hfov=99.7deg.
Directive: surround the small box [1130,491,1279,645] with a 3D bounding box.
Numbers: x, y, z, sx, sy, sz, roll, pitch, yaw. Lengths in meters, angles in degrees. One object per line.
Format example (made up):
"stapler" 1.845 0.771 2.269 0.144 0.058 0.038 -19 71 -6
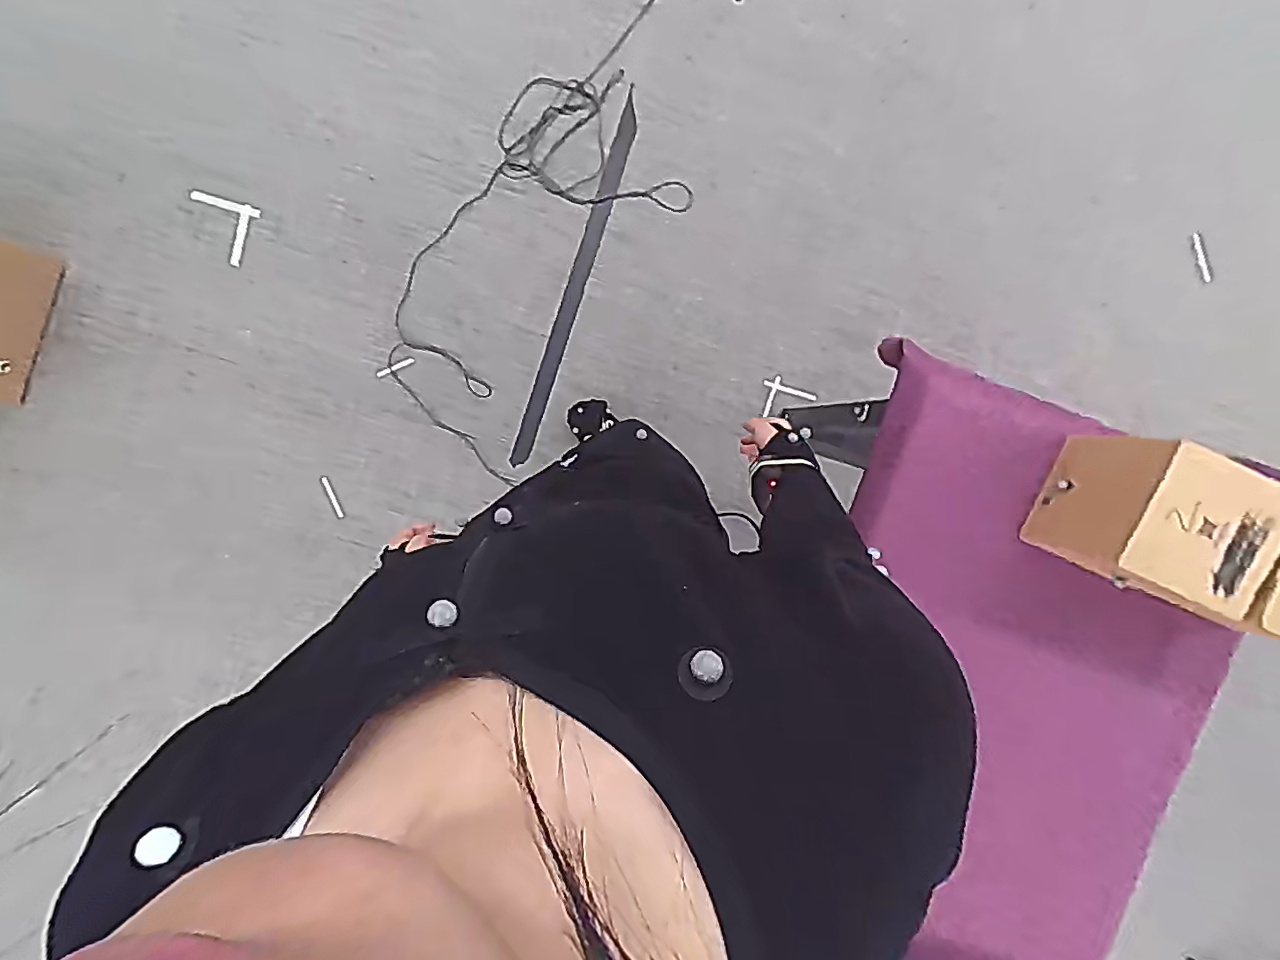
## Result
"small box" 0.845 0.123 0.733 0.179 0.176 0.168 23 94 -4
